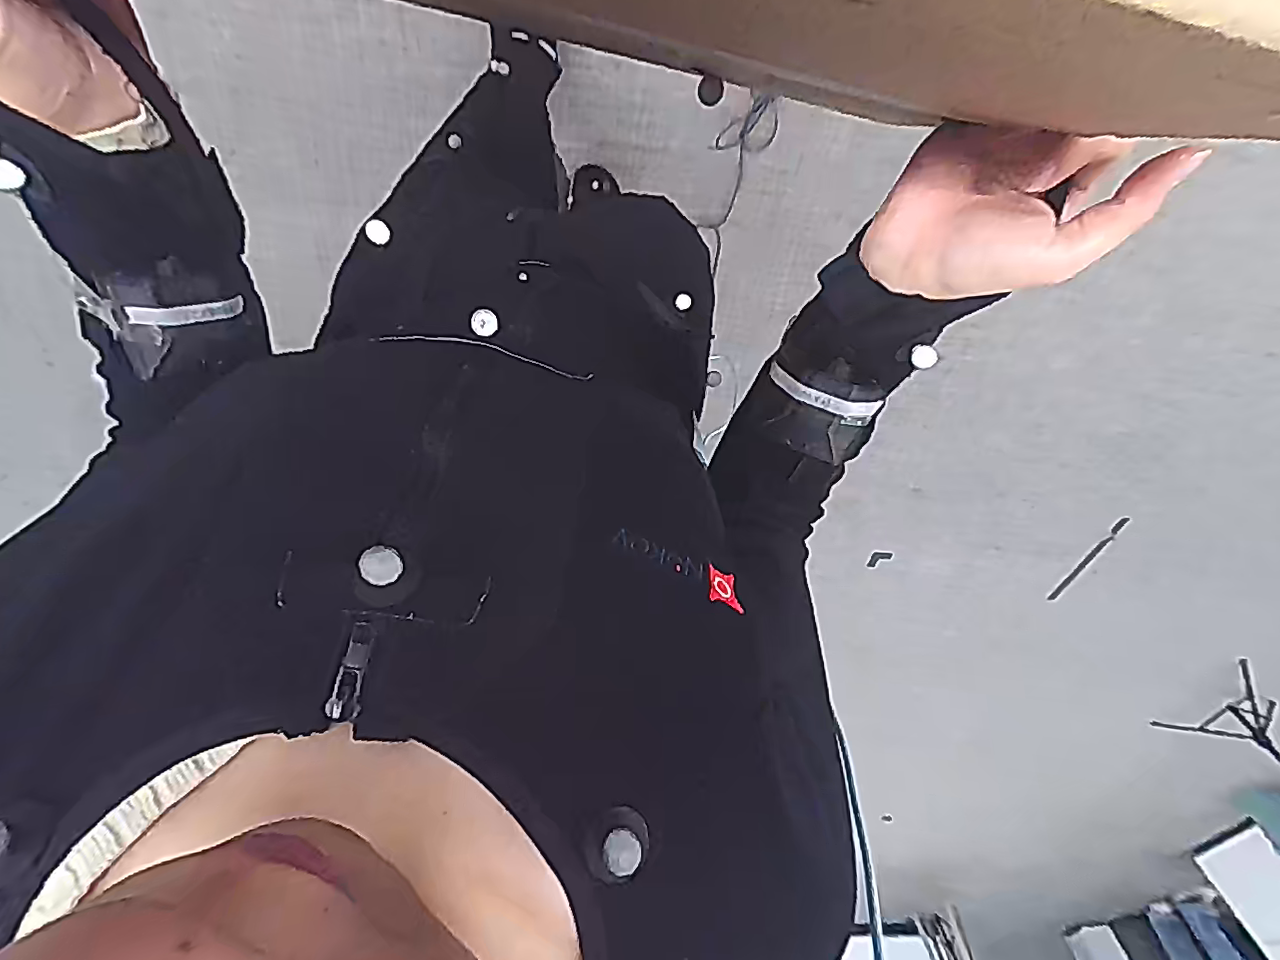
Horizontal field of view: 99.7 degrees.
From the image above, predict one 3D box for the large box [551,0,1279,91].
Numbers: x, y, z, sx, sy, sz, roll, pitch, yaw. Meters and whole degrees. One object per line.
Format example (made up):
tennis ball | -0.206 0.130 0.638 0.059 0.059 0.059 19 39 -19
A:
large box | 0.003 -0.315 0.109 0.408 0.320 0.320 7 125 -9
